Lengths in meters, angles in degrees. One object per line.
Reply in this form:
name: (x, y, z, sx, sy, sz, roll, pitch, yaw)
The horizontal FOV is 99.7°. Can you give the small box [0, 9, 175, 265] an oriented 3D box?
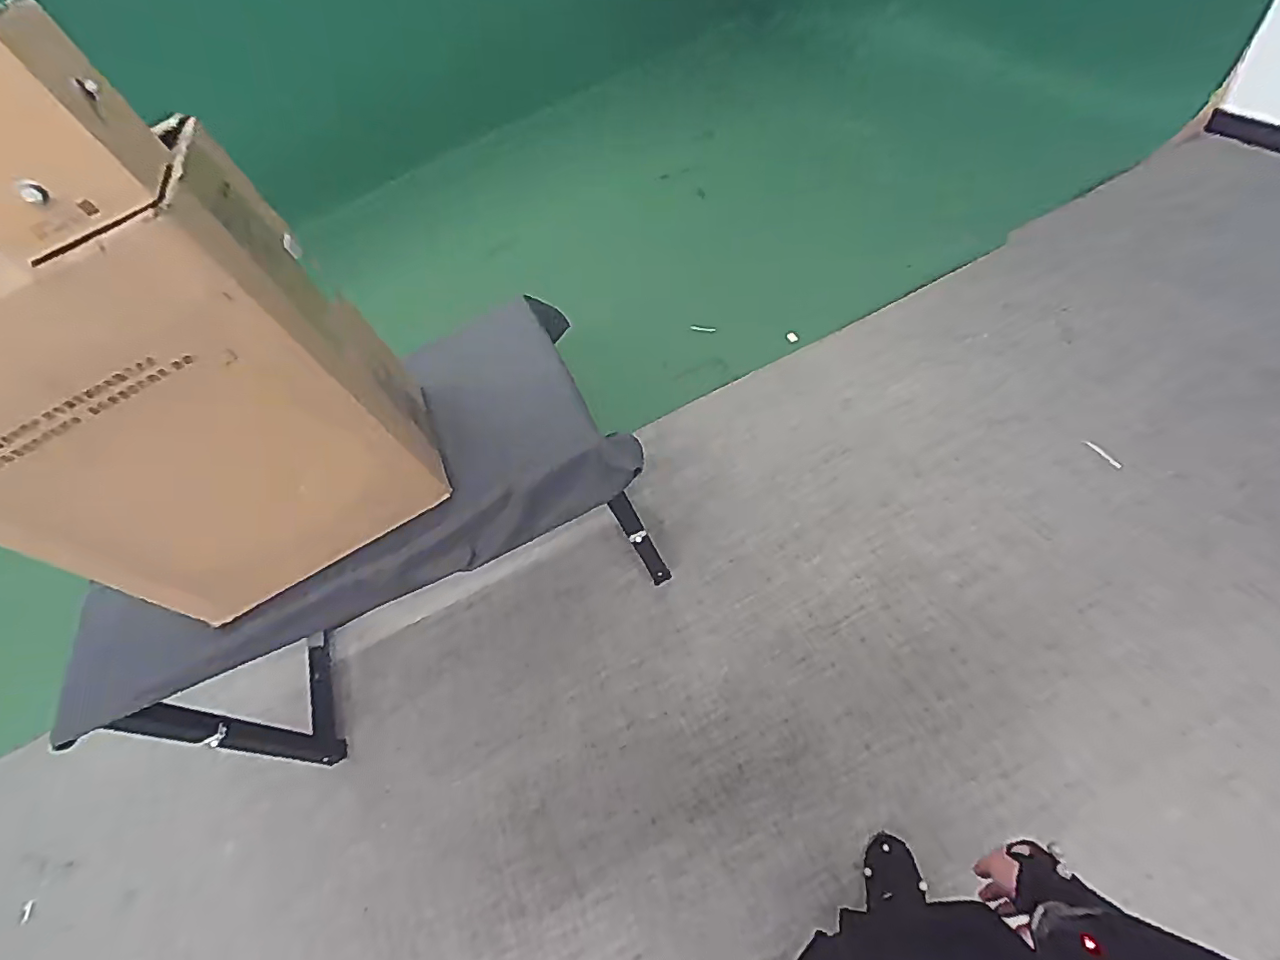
small box: (-0.666, -0.372, 0.597, 0.168, 0.176, 0.179, -29, 54, -4)
